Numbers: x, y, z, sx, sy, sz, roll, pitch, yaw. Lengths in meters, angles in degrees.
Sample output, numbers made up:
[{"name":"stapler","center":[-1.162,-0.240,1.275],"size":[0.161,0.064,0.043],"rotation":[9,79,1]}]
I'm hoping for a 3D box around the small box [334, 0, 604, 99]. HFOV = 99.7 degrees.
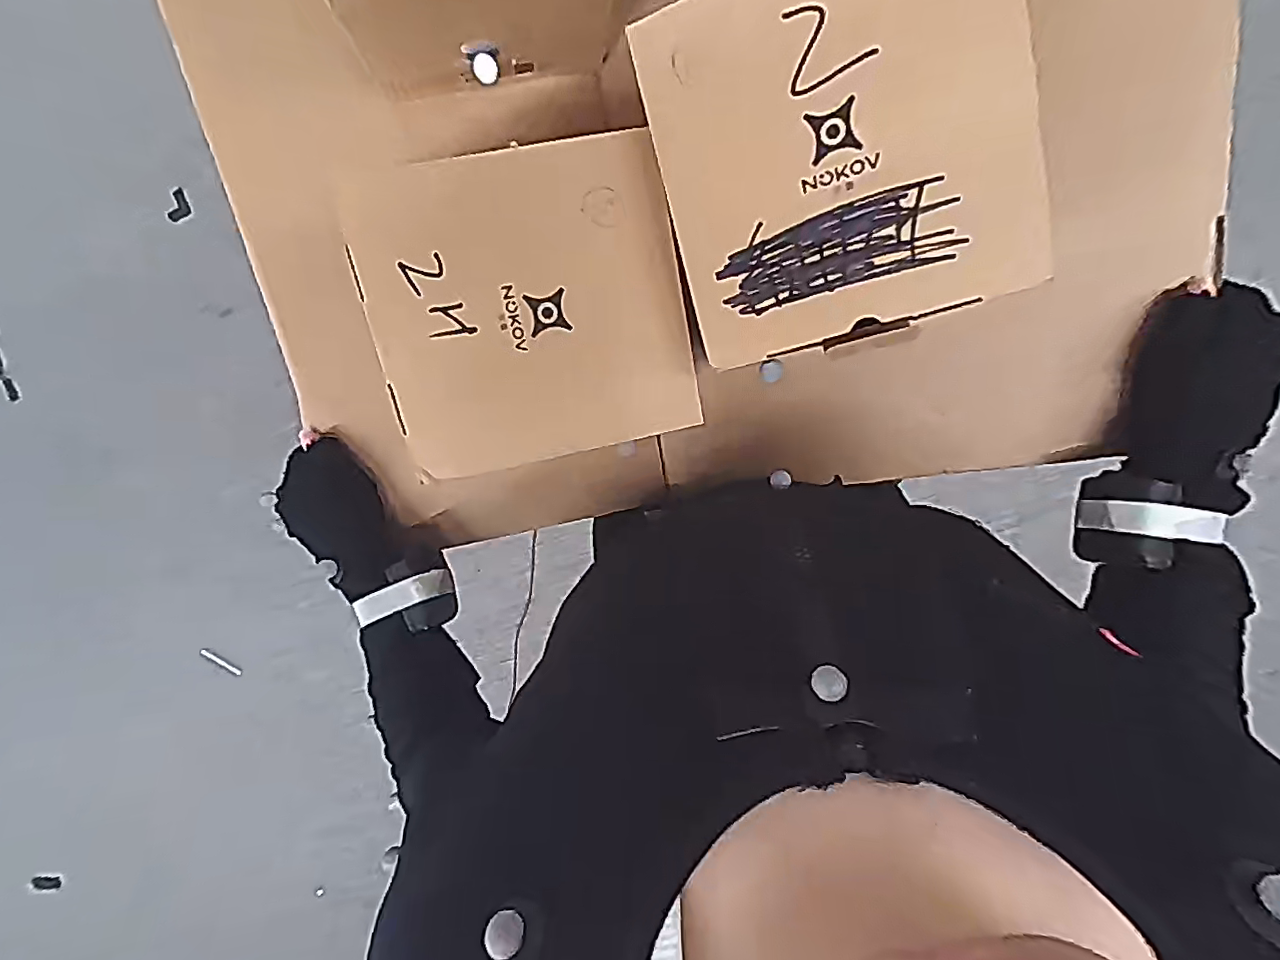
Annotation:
[{"name":"small box","center":[-0.118,-0.369,0.317],"size":[0.168,0.176,0.179],"rotation":[-14,105,-5]}]
